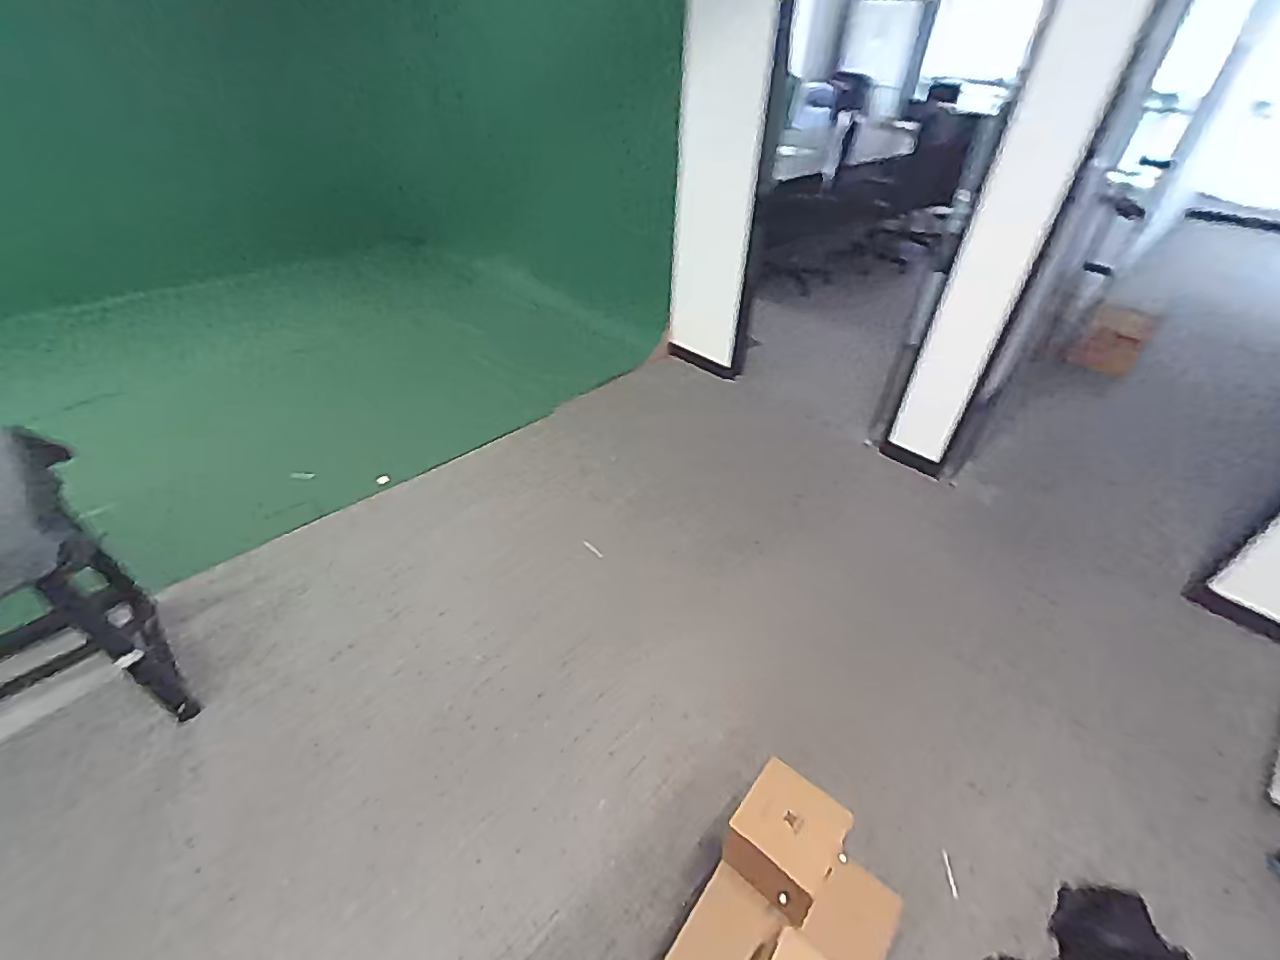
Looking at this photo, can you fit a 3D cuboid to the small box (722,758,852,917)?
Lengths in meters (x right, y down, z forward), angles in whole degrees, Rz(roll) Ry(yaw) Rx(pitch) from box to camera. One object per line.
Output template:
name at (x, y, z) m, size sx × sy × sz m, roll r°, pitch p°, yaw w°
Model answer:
small box at (0.275, 0.687, 1.036) m, size 0.179 × 0.176 × 0.168 m, roll 26°, pitch 44°, yaw 32°

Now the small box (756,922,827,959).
small box at (0.243, 0.849, 0.836) m, size 0.179 × 0.176 × 0.168 m, roll 28°, pitch 46°, yaw 26°
